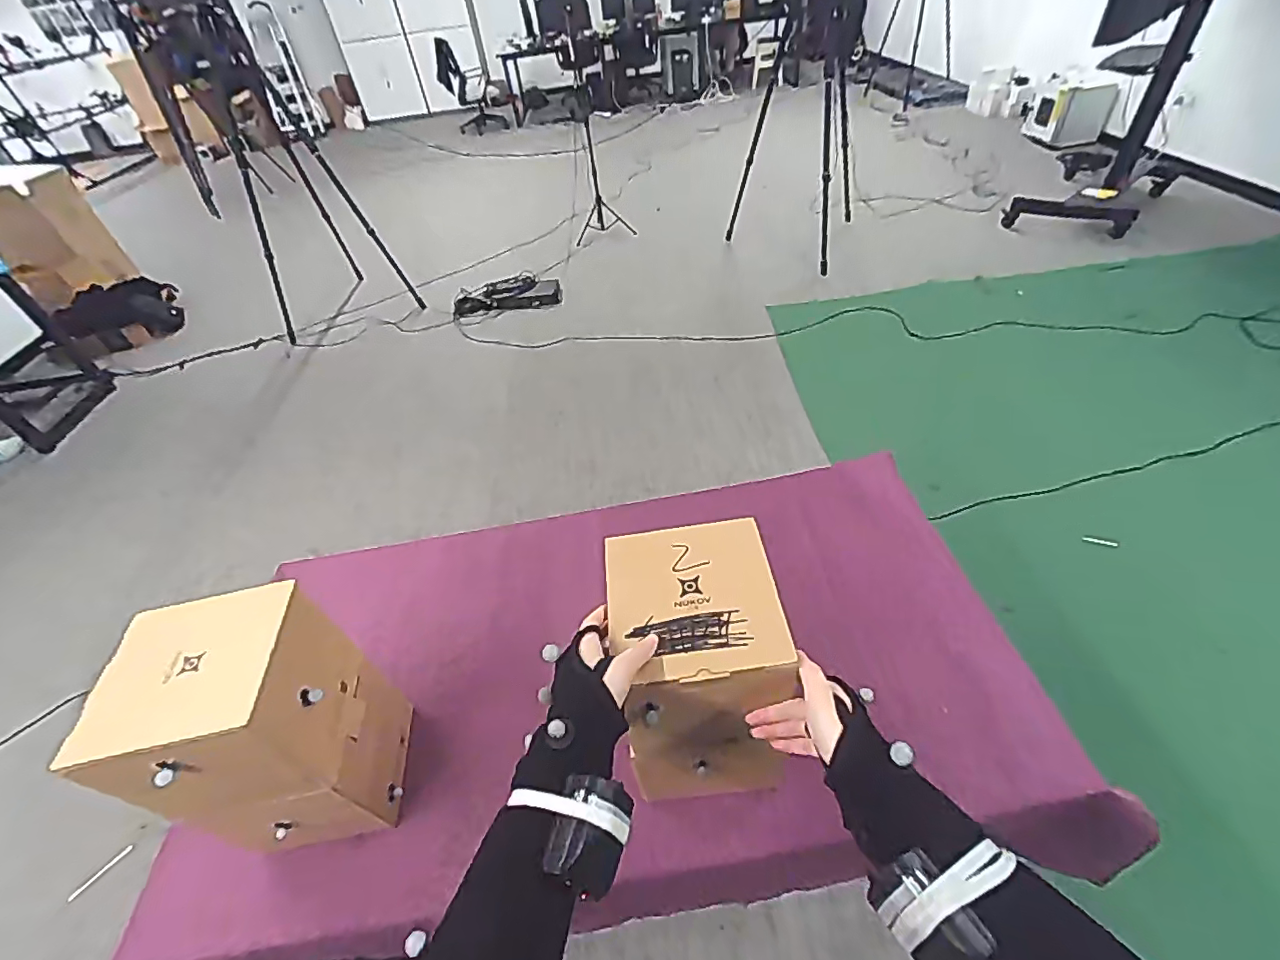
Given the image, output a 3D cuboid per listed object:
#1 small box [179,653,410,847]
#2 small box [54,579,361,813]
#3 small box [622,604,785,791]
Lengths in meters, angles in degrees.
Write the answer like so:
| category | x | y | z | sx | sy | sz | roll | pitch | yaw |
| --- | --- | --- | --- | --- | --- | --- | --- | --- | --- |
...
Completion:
| category | x | y | z | sx | sy | sz | roll | pitch | yaw |
| --- | --- | --- | --- | --- | --- | --- | --- | --- | --- |
| small box | -0.424 | 0.353 | 0.705 | 0.179 | 0.176 | 0.168 | -12 | 45 | -1 |
| small box | -0.438 | 0.237 | 0.592 | 0.179 | 0.176 | 0.168 | -13 | 45 | -3 |
| small box | 0.078 | 0.282 | 0.693 | 0.179 | 0.176 | 0.168 | -7 | 45 | 2 |
